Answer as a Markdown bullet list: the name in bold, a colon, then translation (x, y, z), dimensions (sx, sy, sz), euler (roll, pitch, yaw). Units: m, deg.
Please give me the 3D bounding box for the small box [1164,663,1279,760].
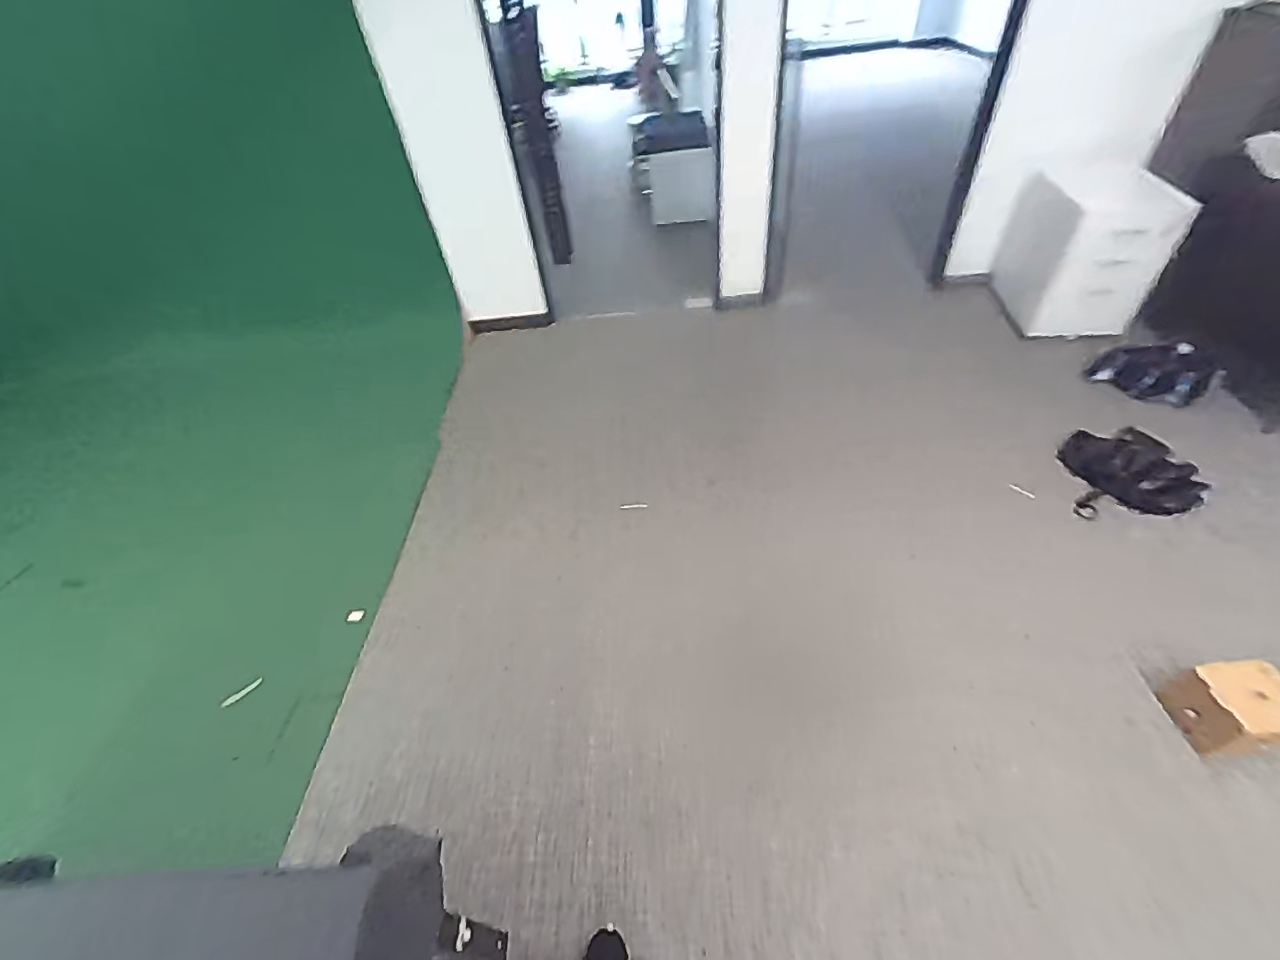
- **small box**: translation (1.444, 0.565, 1.315), dimensions (0.179, 0.176, 0.168), euler (-5, 45, 2)
